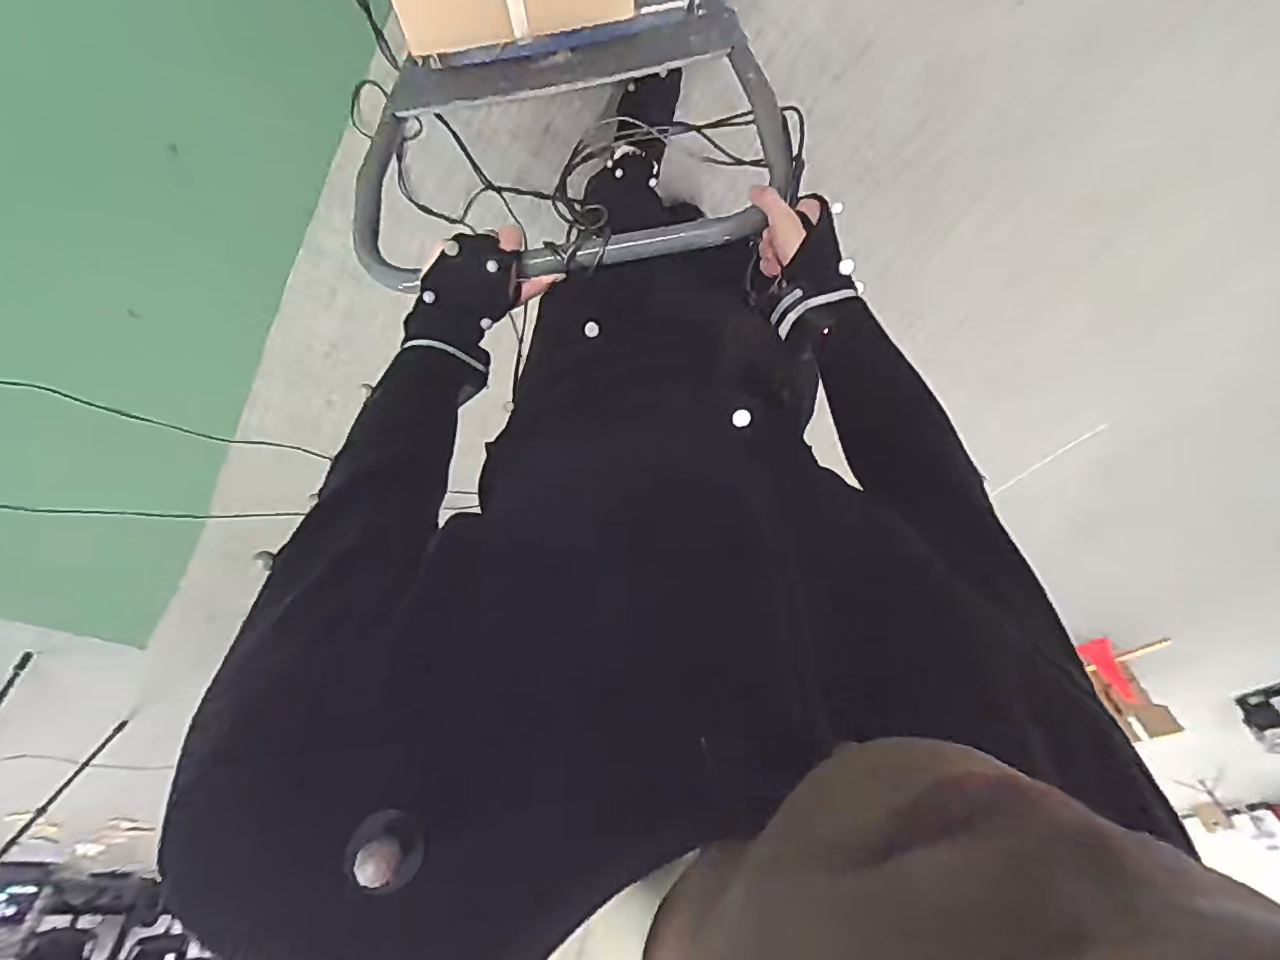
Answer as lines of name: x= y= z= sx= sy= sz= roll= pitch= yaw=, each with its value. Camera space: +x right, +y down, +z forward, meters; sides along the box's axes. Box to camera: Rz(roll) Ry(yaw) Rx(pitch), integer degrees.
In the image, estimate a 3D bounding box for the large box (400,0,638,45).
large box: x=-0.180 y=-0.844 z=0.670 sx=0.320 sy=0.320 sz=0.408 roll=-6 pitch=141 yaw=2
